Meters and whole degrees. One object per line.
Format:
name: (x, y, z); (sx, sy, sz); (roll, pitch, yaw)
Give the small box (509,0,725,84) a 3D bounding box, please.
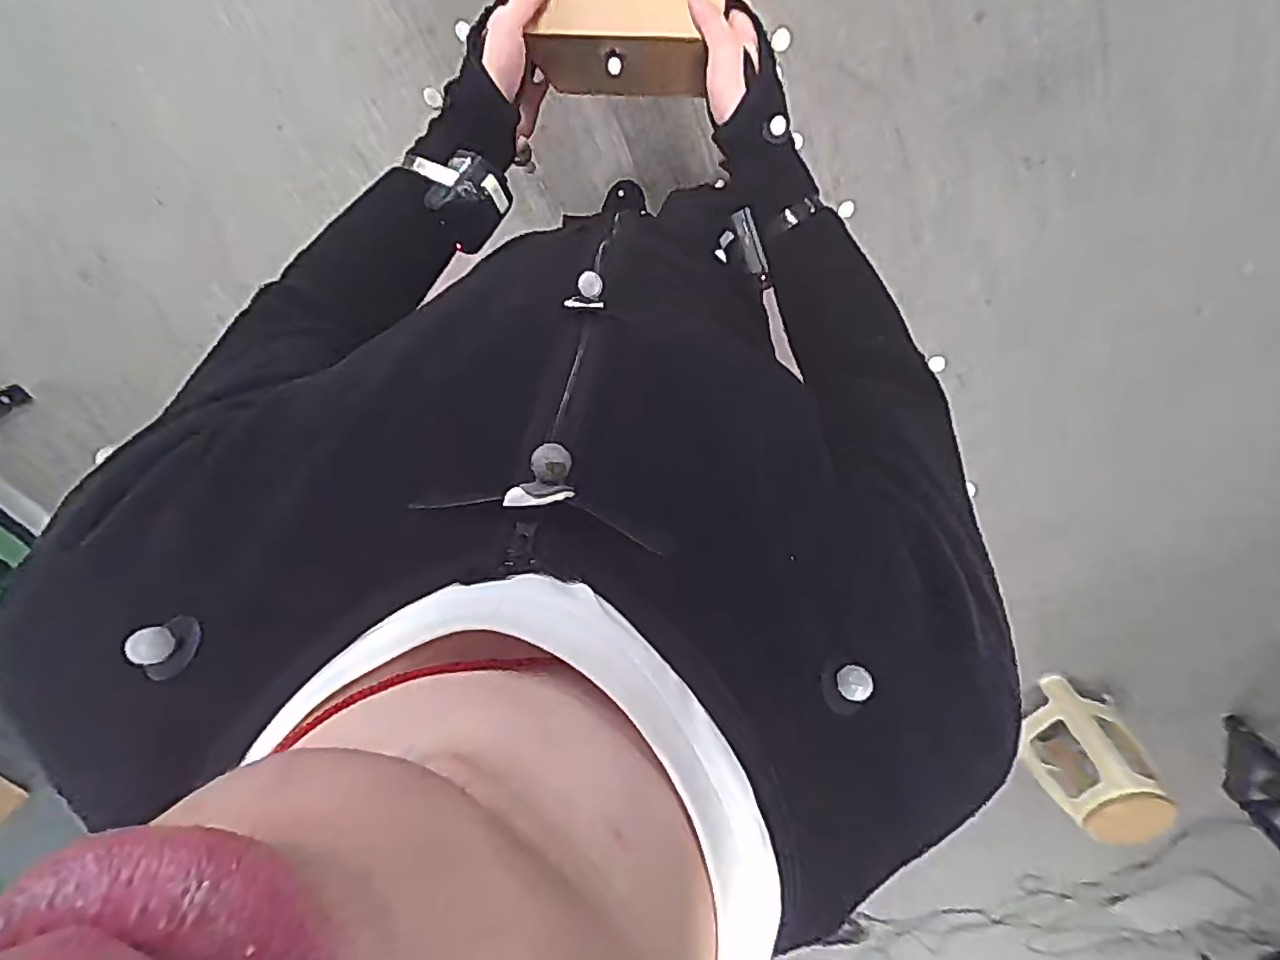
small box: (-0.009, -0.475, 0.479); (0.179, 0.176, 0.168); (3, 110, 4)
